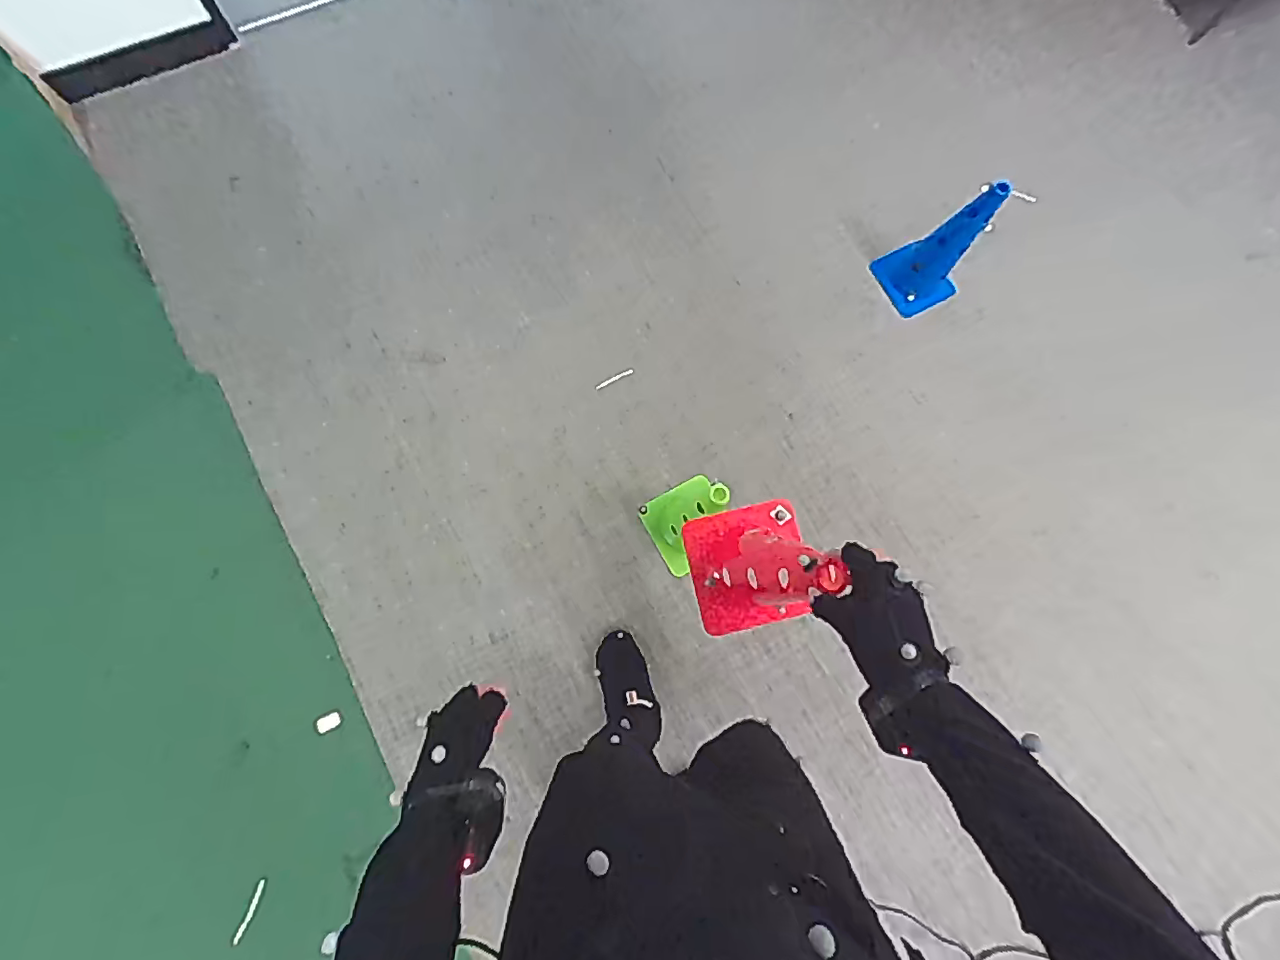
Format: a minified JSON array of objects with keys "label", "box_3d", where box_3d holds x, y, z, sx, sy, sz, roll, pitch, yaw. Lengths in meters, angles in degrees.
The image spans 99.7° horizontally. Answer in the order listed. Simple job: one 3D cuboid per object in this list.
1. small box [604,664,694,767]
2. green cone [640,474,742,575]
[{"label":"small box","box_3d":[0.015,0.517,1.202,0.168,0.176,0.179,5,79,-11]},{"label":"green cone","box_3d":[0.139,0.068,1.170,0.202,0.368,0.200,-30,81,-11]}]
